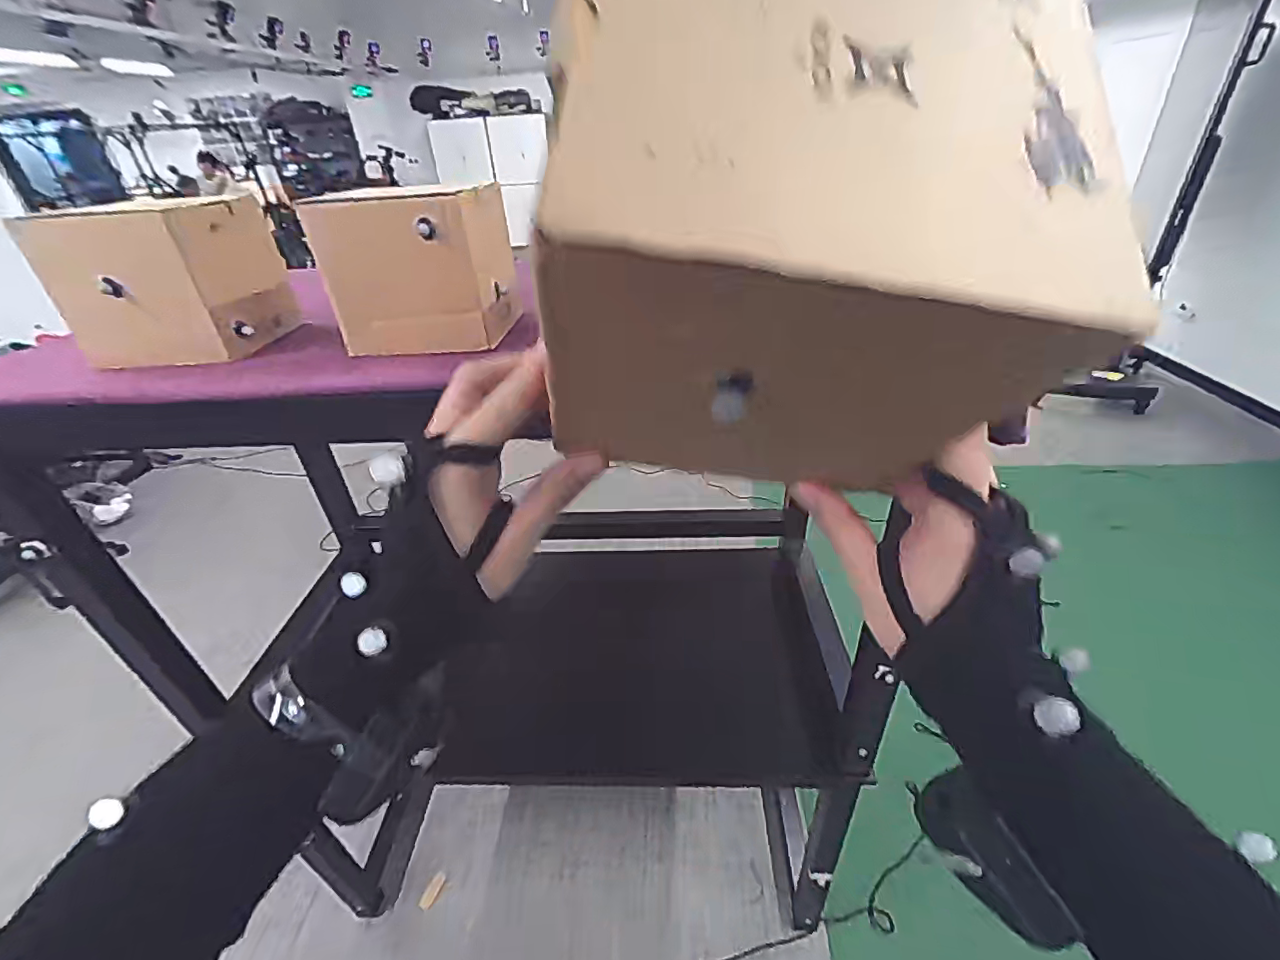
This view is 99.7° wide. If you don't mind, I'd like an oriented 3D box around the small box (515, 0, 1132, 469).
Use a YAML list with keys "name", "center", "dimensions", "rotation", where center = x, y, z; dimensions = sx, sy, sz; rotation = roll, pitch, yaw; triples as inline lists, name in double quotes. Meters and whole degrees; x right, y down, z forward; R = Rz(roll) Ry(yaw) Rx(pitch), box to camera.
- name: "small box"
  center: [0.054, -0.111, 0.248]
  dimensions: [0.179, 0.176, 0.168]
  rotation: [6, 73, -3]

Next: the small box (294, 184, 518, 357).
- name: "small box"
  center: [-0.262, -0.254, 0.656]
  dimensions: [0.179, 0.176, 0.168]
  rotation: [-1, 33, 3]

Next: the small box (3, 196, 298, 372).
- name: "small box"
  center: [-0.571, -0.243, 0.667]
  dimensions: [0.179, 0.176, 0.168]
  rotation: [-3, 32, 3]
